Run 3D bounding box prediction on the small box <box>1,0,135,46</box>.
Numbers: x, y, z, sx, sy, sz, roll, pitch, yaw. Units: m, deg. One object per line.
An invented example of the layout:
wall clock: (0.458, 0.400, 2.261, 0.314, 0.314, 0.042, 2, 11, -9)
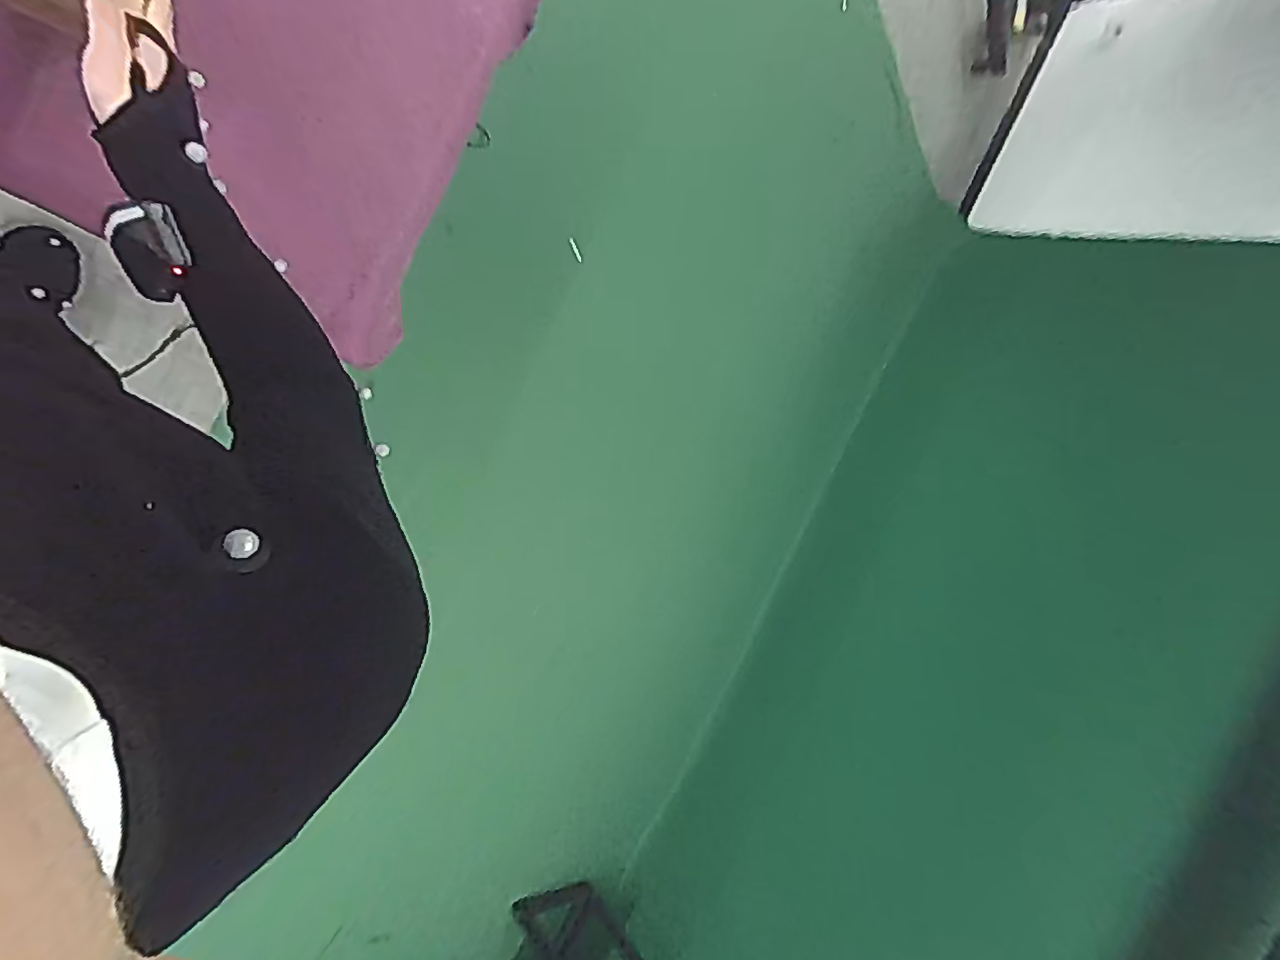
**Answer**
small box: (-0.504, -0.484, 0.417, 0.179, 0.176, 0.168, 5, 105, -47)
